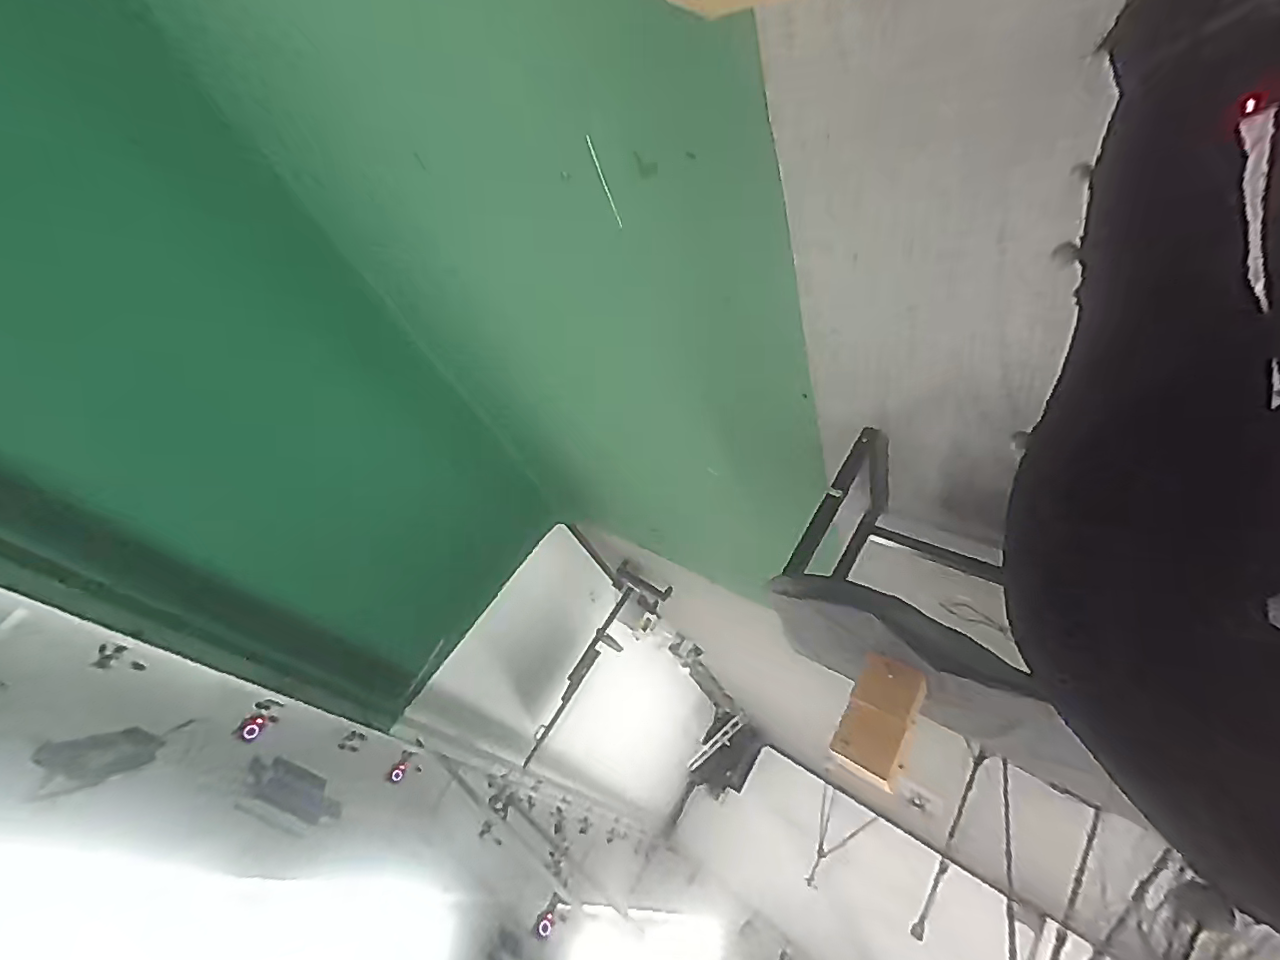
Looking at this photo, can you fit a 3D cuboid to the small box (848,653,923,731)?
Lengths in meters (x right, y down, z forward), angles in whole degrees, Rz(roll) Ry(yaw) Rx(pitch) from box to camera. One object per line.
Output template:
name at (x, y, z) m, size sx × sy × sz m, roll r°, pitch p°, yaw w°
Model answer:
small box at (0.770, 0.673, 1.687) m, size 0.168 × 0.176 × 0.179 m, roll 18°, pitch 152°, yaw 38°

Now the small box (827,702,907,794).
small box at (0.692, 0.804, 1.630) m, size 0.179 × 0.176 × 0.168 m, roll 18°, pitch 153°, yaw 39°
